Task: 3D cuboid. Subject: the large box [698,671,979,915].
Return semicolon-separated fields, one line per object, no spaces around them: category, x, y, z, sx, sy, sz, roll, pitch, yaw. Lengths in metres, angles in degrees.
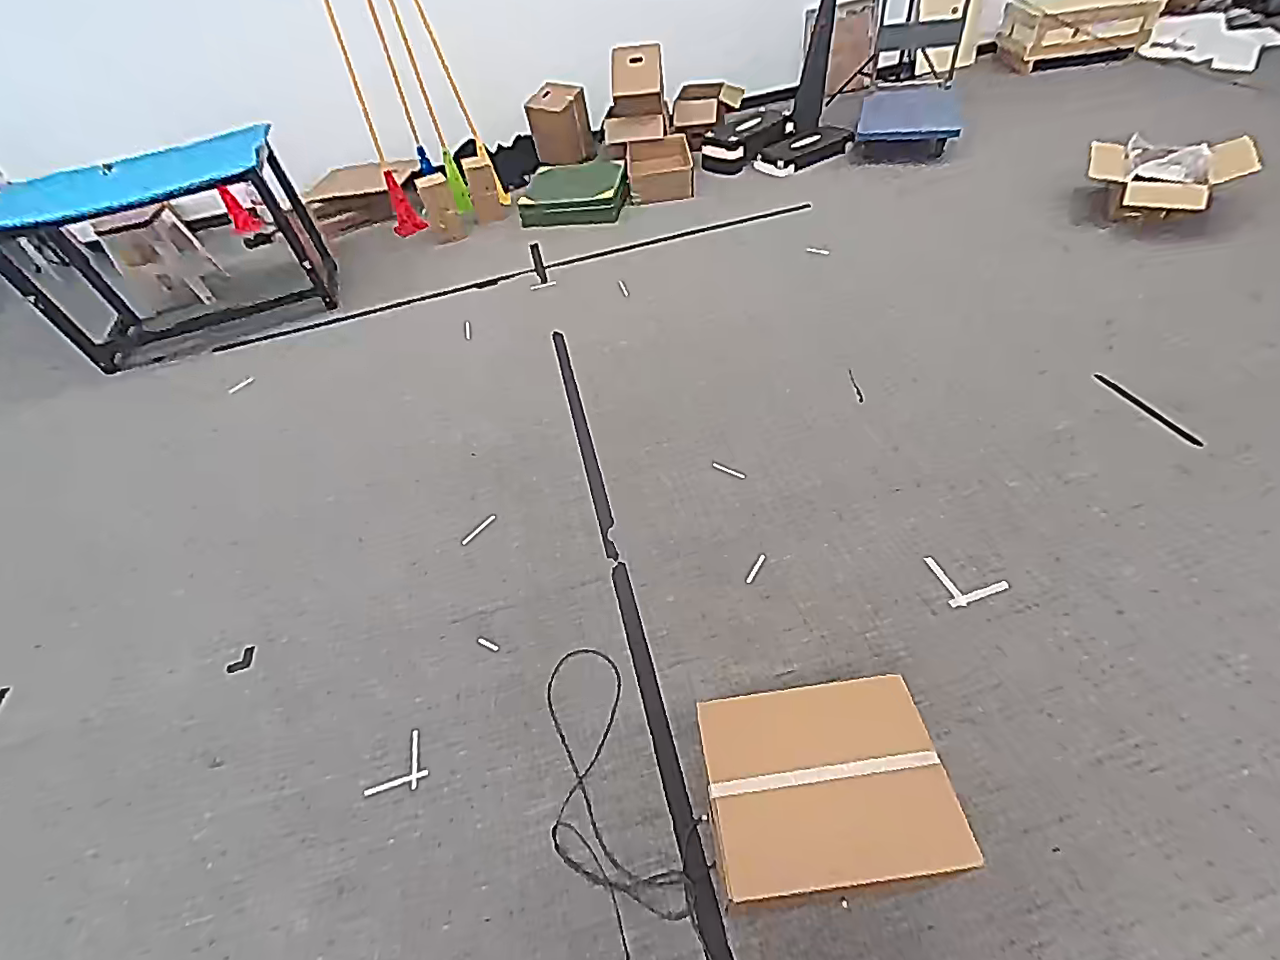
large box;0.342;0.617;1.063;0.408;0.320;0.320;-9;48;0
